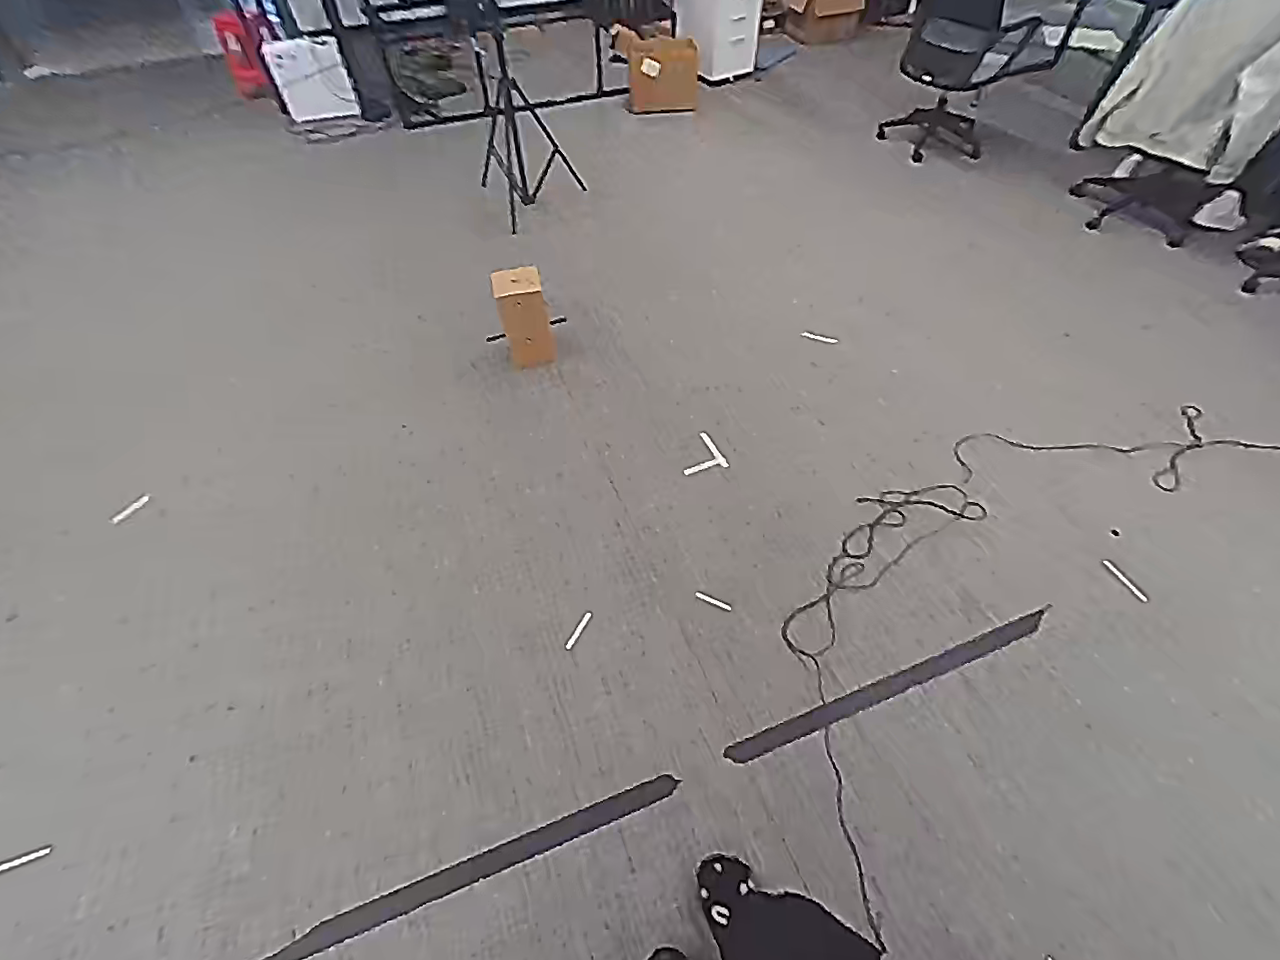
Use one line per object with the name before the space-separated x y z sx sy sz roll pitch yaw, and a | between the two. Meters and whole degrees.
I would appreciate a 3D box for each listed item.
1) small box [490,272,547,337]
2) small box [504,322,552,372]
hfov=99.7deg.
small box | -0.468 -0.671 2.084 0.179 0.176 0.168 -12 54 -7
small box | -0.461 -0.567 2.211 0.179 0.176 0.168 -14 54 -9
